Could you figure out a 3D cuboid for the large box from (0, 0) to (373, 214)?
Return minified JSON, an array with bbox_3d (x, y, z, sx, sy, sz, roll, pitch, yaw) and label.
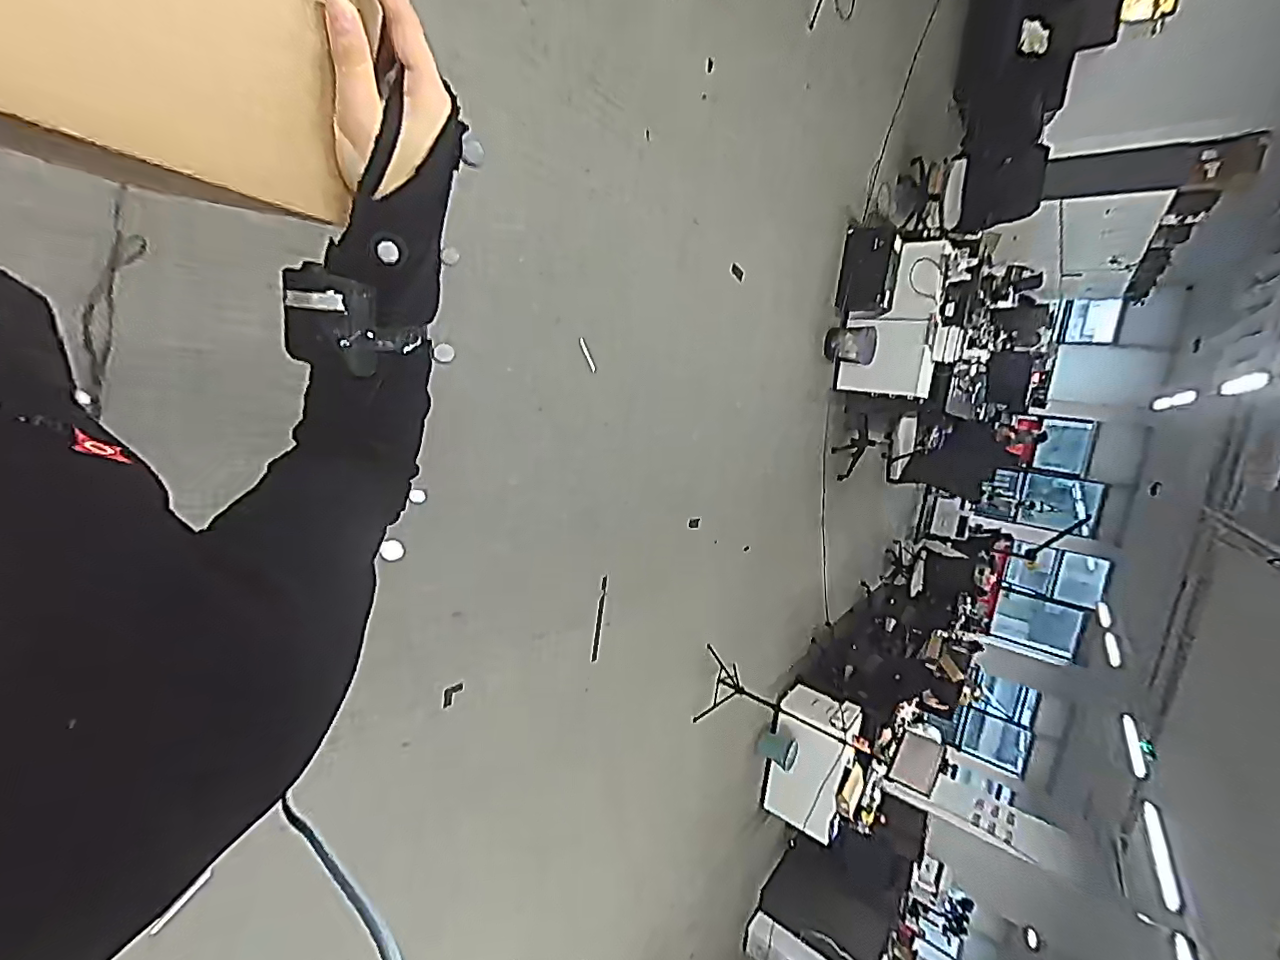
[{"bbox_3d":[-0.374,-0.341,0.210,0.408,0.320,0.320,-6,116,-57],"label":"large box"}]
